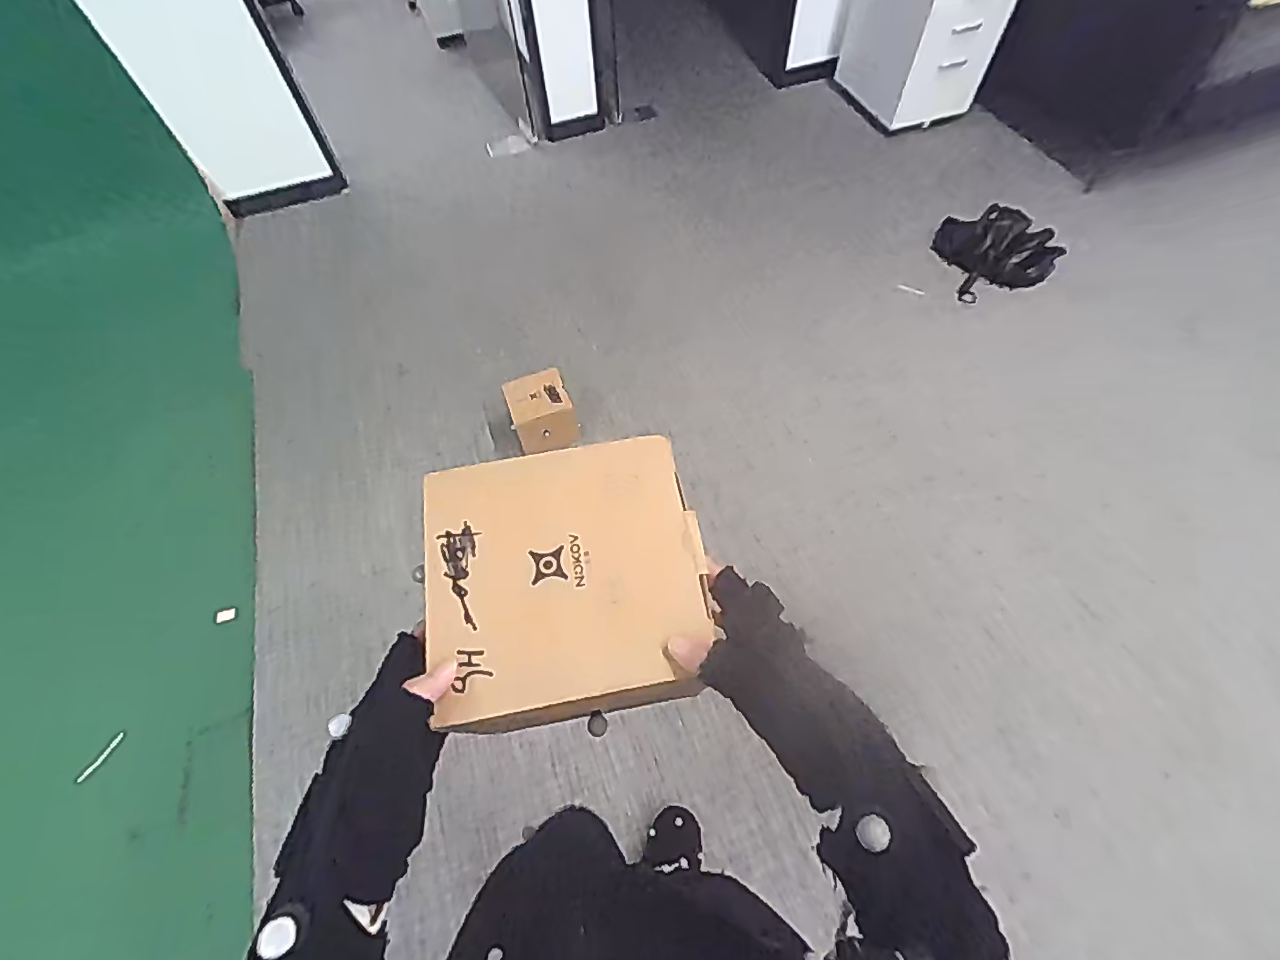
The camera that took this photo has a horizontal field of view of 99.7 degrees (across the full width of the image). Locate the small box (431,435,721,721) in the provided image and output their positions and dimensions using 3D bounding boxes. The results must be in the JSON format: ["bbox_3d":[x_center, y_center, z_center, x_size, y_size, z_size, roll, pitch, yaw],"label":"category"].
[{"bbox_3d":[-0.051,0.086,0.426,0.179,0.176,0.168,-9,63,-6],"label":"small box"}]

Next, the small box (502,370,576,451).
[{"bbox_3d":[-0.300,-0.200,1.643,0.179,0.176,0.168,-19,61,-8],"label":"small box"}]
